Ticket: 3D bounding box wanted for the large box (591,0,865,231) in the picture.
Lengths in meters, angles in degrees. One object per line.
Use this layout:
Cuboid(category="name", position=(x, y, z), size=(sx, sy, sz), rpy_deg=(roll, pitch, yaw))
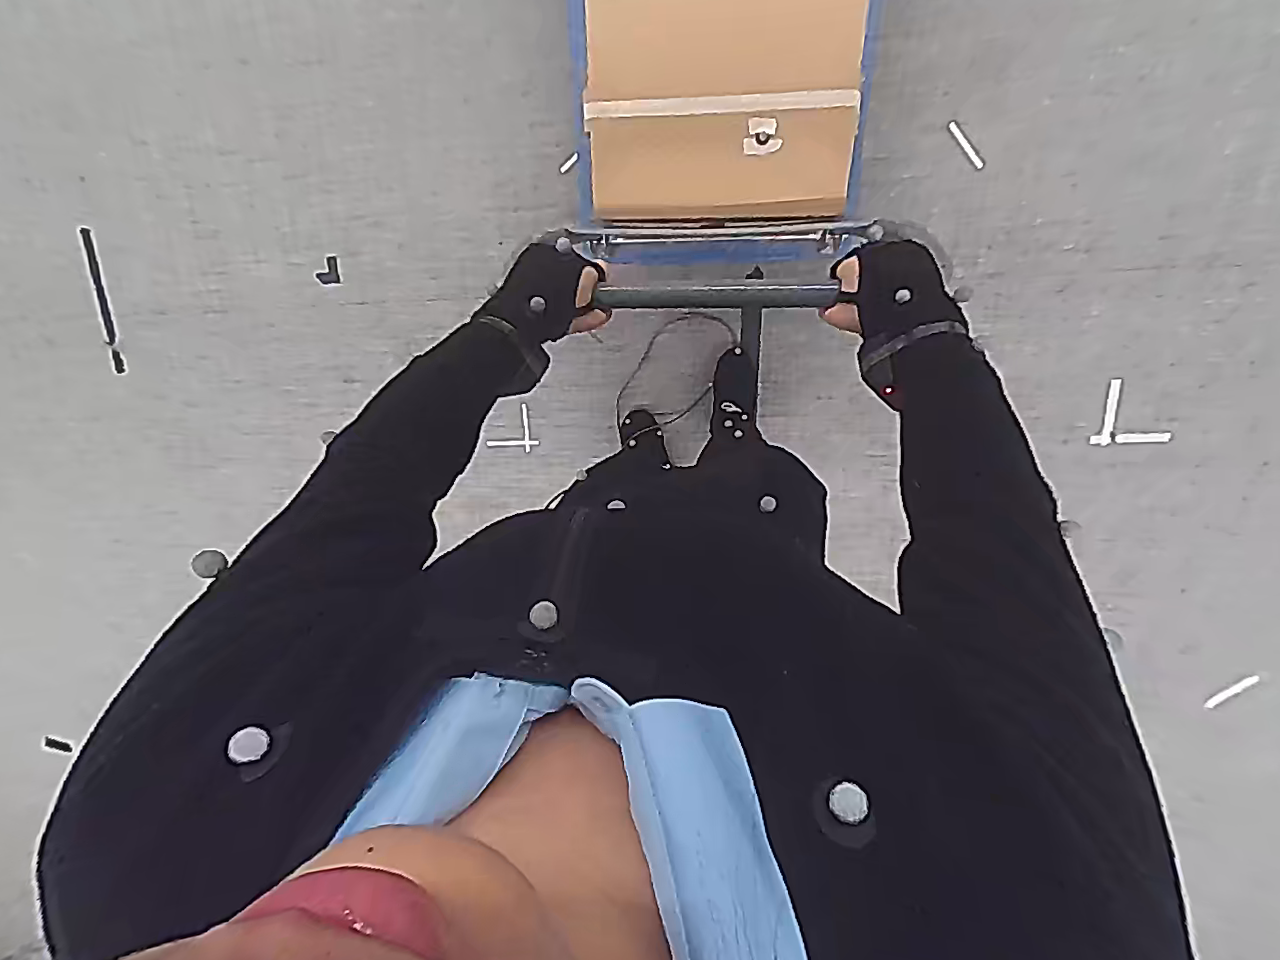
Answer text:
Cuboid(category="large box", position=(0.140, -0.633, 0.973), size=(0.408, 0.320, 0.320), rpy_deg=(1, 113, 6))
